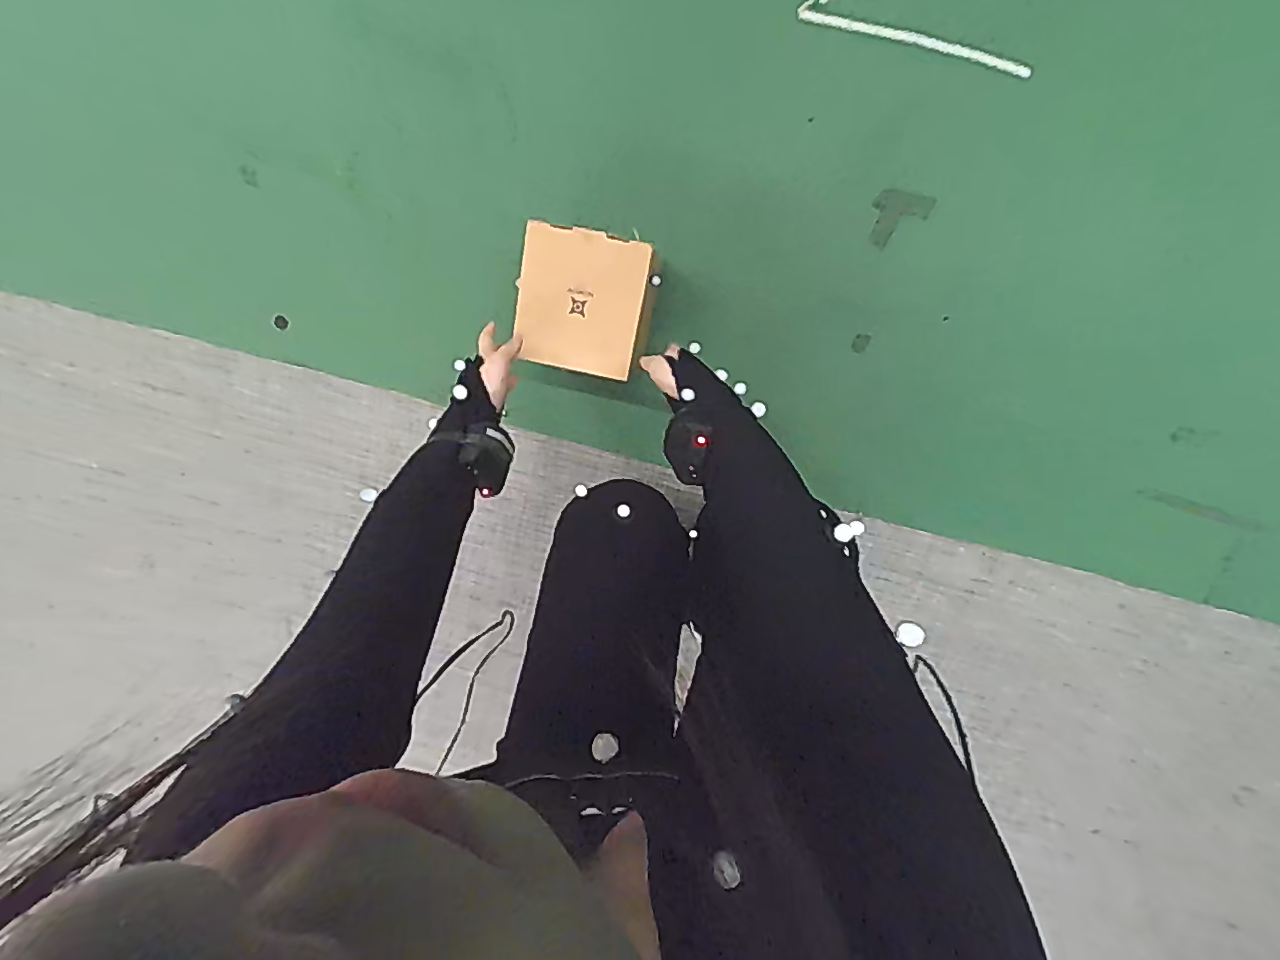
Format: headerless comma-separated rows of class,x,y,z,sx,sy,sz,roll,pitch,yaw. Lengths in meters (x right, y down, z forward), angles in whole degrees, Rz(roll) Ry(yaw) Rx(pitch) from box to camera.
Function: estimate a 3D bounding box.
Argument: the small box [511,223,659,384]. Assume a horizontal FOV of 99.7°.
small box,-0.071,-0.250,0.782,0.168,0.176,0.179,13,108,3
